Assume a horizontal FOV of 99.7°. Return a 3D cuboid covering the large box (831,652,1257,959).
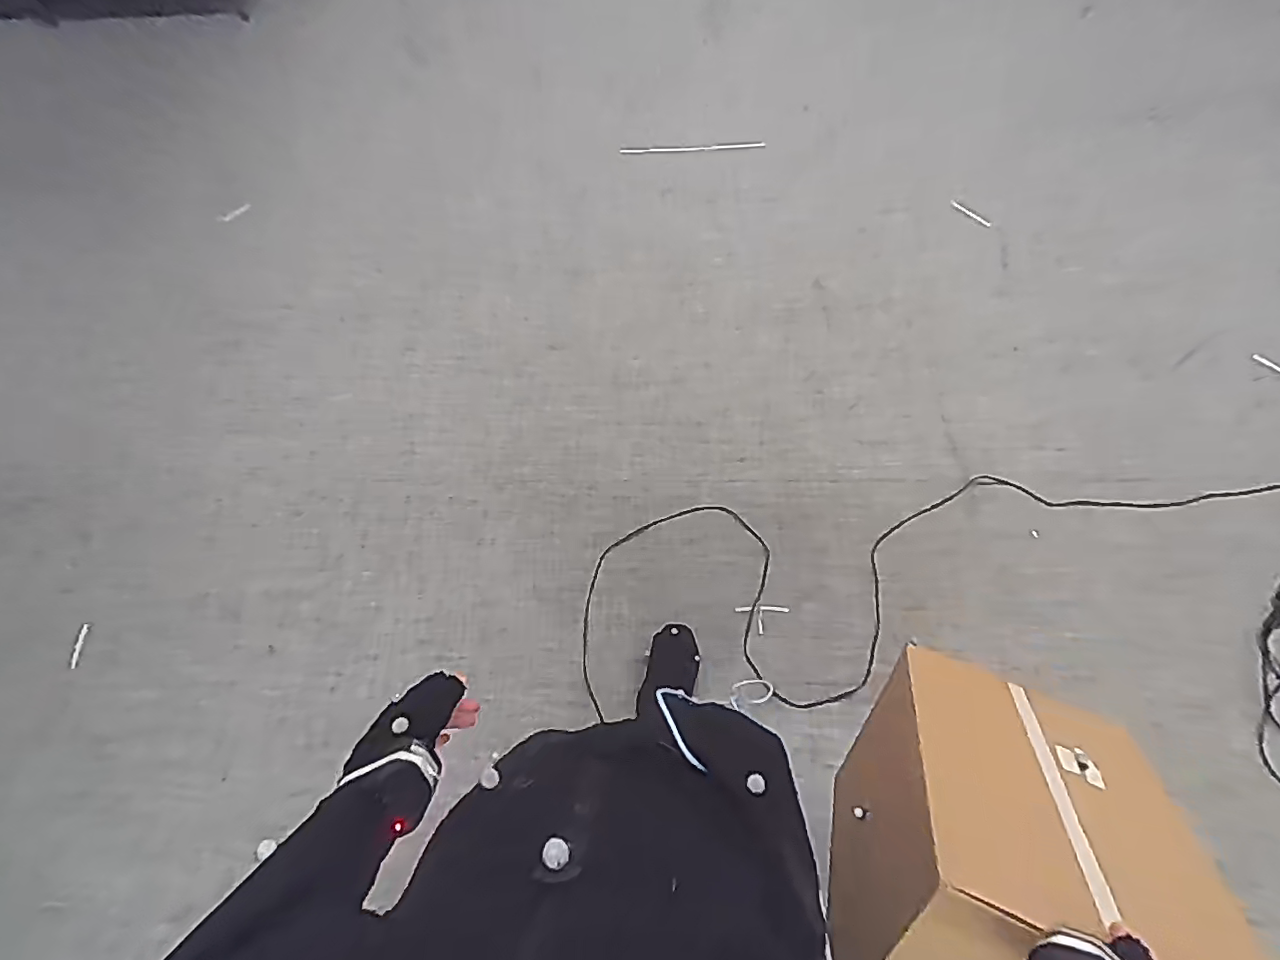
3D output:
[{"bbox_3d":[0.456,0.514,0.704,0.320,0.408,0.320,22,113,14],"label":"large box"}]
